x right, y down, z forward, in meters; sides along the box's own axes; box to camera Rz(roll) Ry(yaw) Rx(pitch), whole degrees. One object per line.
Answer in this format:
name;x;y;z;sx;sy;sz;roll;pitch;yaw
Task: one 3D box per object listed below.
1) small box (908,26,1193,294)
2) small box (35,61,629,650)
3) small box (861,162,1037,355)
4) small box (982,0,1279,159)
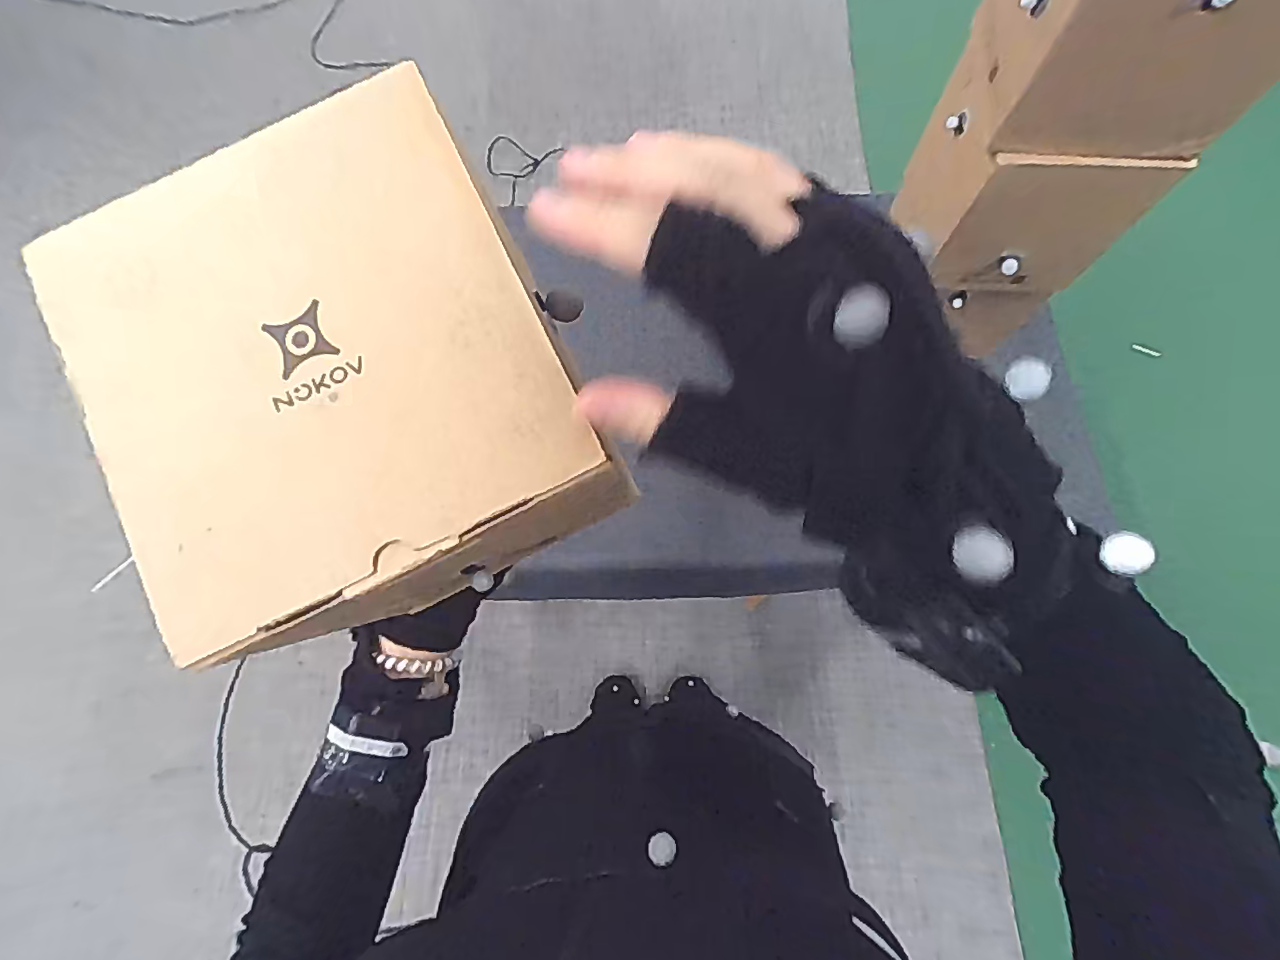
small box;0.398;-0.323;0.564;0.168;0.176;0.179;4;72;4
small box;-0.115;-0.042;0.275;0.168;0.176;0.179;-26;84;-1
small box;0.413;-0.287;0.725;0.179;0.176;0.168;10;72;5
small box;0.388;-0.378;0.411;0.179;0.176;0.168;7;73;5
